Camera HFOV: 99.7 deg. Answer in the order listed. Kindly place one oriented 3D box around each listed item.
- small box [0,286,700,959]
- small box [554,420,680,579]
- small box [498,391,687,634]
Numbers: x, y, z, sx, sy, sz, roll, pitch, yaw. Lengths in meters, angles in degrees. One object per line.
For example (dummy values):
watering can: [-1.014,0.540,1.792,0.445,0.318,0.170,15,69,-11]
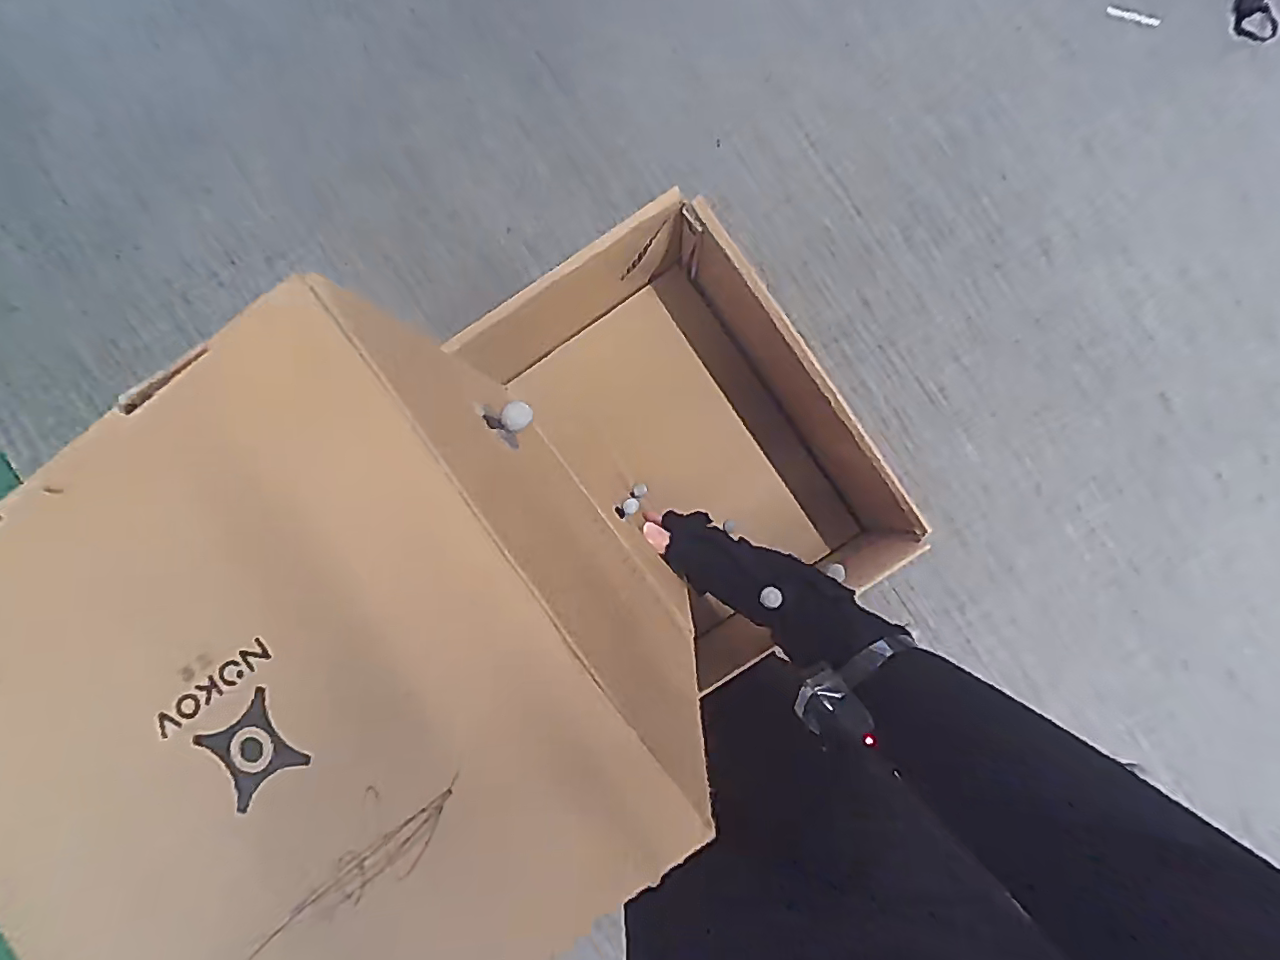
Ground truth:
small box: [-0.094,0.063,0.226,0.168,0.176,0.179,-38,87,3]
small box: [-0.075,0.066,0.551,0.168,0.176,0.179,-38,86,3]
small box: [-0.084,0.066,0.387,0.168,0.176,0.179,-38,87,2]
